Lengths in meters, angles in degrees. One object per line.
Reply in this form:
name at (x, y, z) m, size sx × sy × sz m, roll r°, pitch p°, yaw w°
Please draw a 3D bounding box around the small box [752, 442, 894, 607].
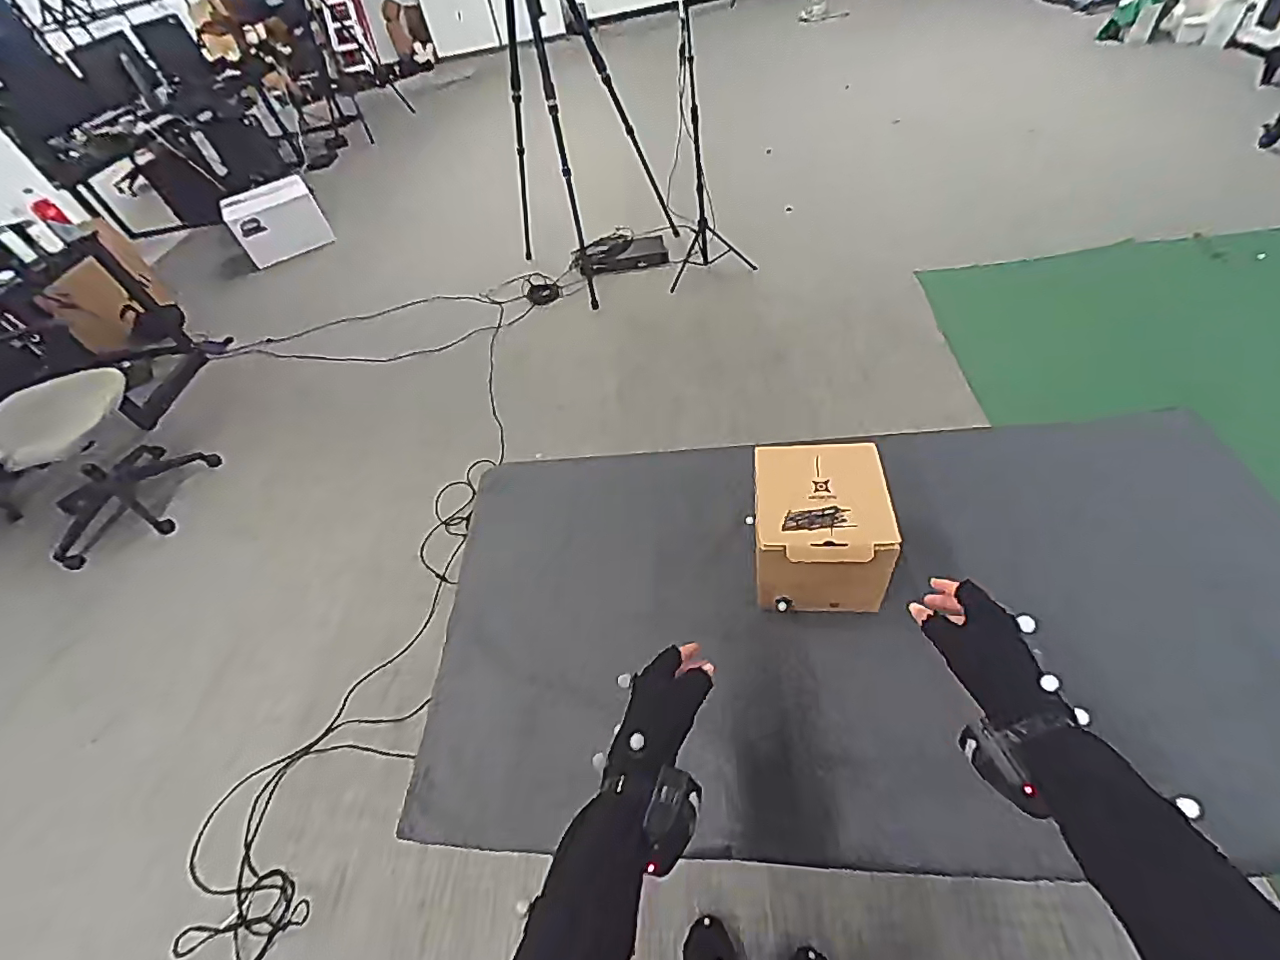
small box at (0.246, 0.068, 0.770) m, size 0.168 × 0.176 × 0.179 m, roll -1°, pitch 49°, yaw 11°
